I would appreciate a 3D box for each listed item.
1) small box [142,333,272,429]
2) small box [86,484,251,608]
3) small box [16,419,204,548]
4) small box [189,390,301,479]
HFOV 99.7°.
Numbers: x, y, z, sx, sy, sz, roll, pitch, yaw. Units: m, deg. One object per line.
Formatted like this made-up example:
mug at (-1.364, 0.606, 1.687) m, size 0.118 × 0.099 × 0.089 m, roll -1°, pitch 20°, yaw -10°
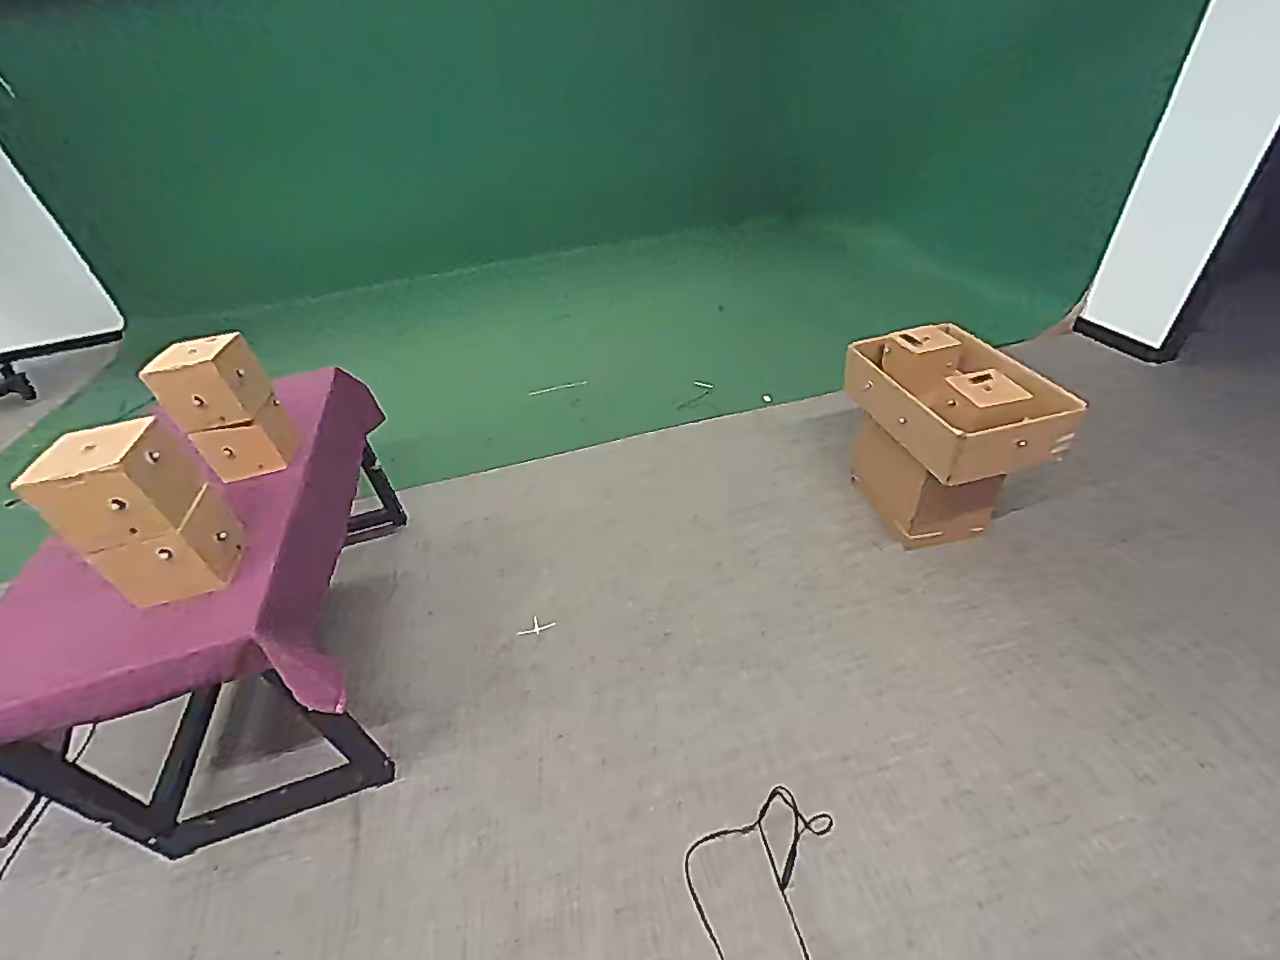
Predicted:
small box at (-1.071, -0.242, 1.358) m, size 0.168 × 0.176 × 0.179 m, roll -12°, pitch 40°, yaw -4°
small box at (-0.970, 0.139, 1.138) m, size 0.179 × 0.176 × 0.168 m, roll -15°, pitch 39°, yaw -7°
small box at (-0.992, 0.012, 1.038) m, size 0.168 × 0.176 × 0.179 m, roll -14°, pitch 39°, yaw -8°
small box at (-1.057, -0.119, 1.467) m, size 0.168 × 0.176 × 0.179 m, roll -15°, pitch 39°, yaw -8°
